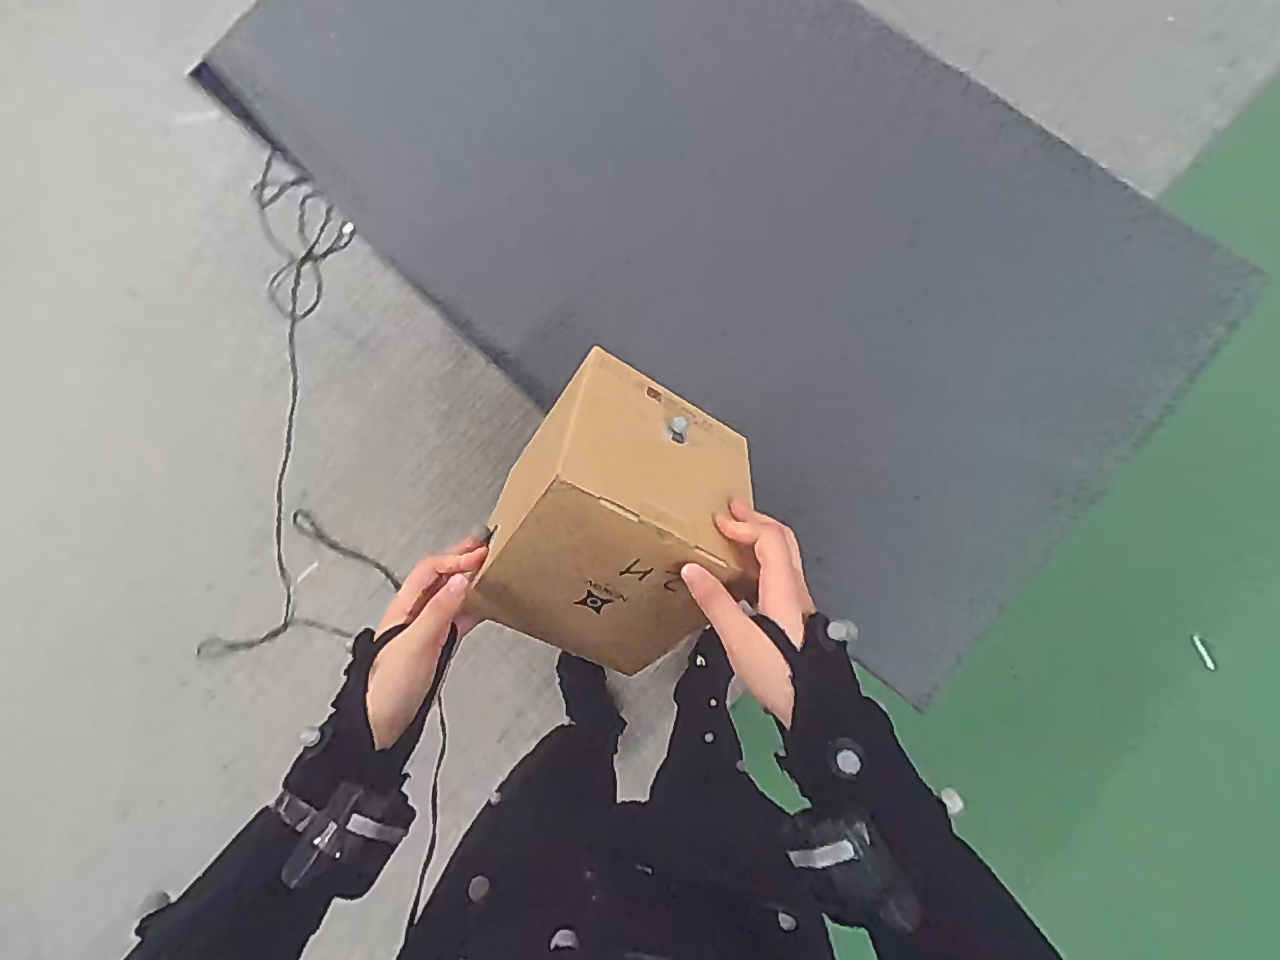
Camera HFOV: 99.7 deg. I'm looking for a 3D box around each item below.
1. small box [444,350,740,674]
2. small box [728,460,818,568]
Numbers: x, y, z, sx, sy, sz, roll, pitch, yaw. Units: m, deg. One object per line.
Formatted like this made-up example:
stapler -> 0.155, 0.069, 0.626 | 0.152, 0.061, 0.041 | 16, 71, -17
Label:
small box -> -0.035, 0.028, 0.456 | 0.168, 0.176, 0.179 | 28, 128, -19
small box -> 0.264, 0.083, 1.226 | 0.168, 0.176, 0.179 | -43, 82, -2
